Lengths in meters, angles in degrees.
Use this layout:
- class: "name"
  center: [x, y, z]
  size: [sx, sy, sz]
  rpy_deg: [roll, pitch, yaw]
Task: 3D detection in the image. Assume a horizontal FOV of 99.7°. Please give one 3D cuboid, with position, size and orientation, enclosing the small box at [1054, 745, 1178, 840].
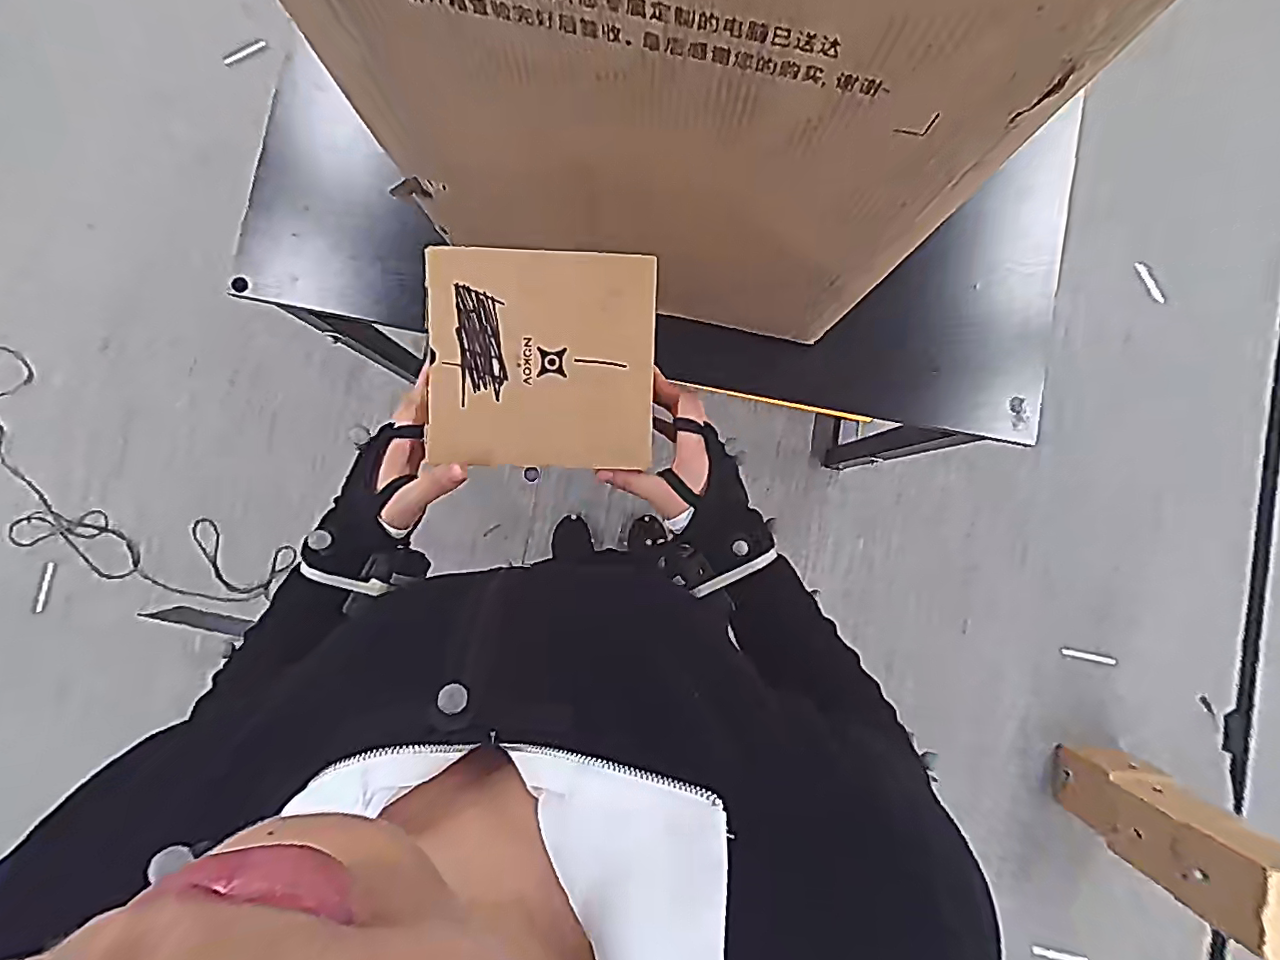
- class: "small box"
  center: [1.225, 0.808, 1.398]
  size: [0.179, 0.176, 0.168]
  rpy_deg: [5, 86, 1]

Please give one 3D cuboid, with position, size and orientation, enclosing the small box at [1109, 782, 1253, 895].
- class: "small box"
  center: [1.222, 0.815, 1.234]
  size: [0.179, 0.176, 0.168]
  rpy_deg: [4, 86, 0]

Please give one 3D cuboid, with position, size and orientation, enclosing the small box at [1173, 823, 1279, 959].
- class: "small box"
  center: [1.226, 0.814, 1.068]
  size: [0.179, 0.176, 0.168]
  rpy_deg: [9, 86, 0]

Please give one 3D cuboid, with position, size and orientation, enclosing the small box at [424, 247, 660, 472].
- class: "small box"
  center: [-0.078, -0.095, 0.489]
  size: [0.179, 0.176, 0.168]
  rpy_deg: [2, 94, -3]
